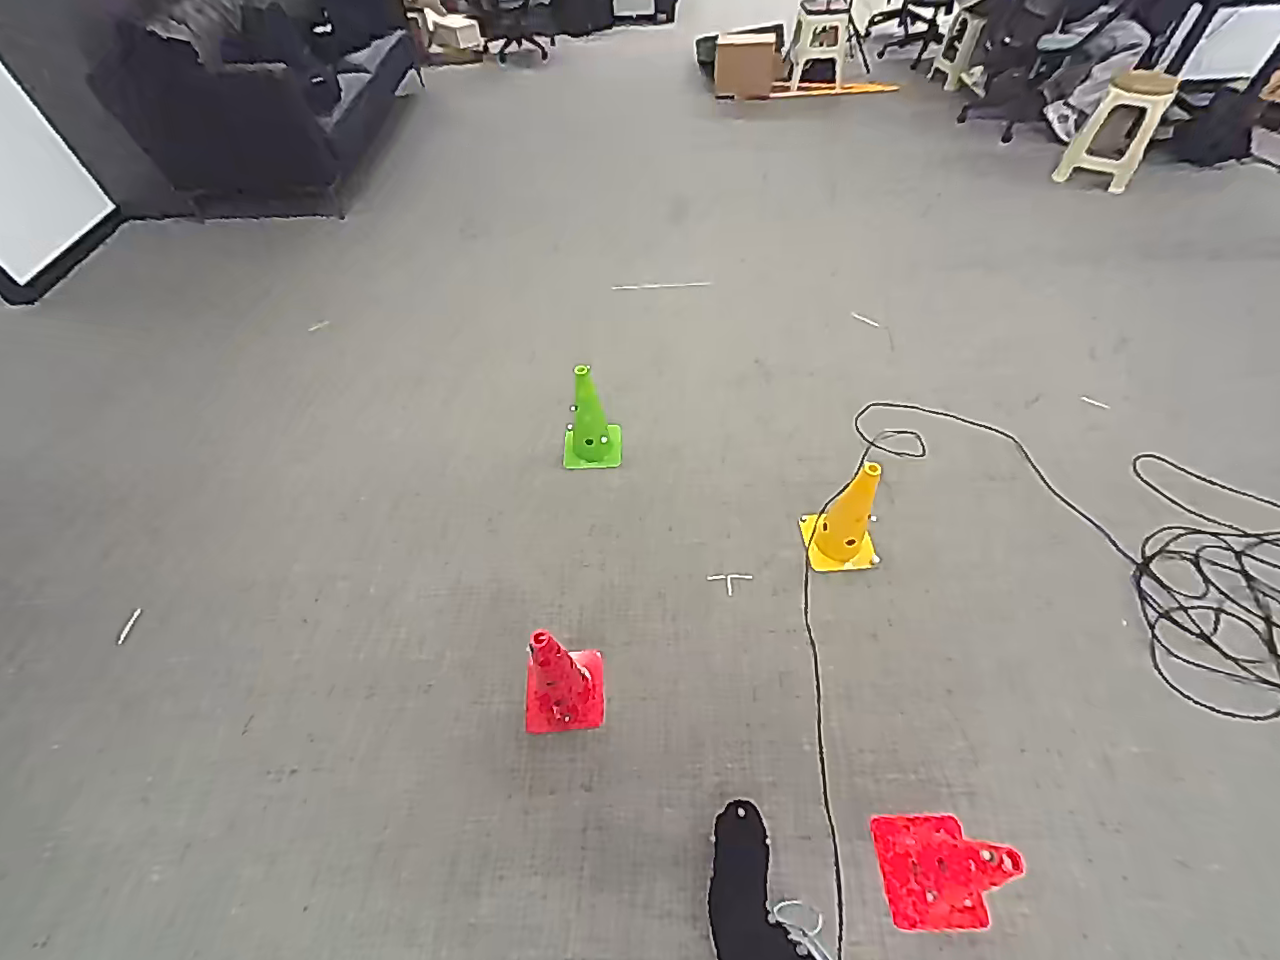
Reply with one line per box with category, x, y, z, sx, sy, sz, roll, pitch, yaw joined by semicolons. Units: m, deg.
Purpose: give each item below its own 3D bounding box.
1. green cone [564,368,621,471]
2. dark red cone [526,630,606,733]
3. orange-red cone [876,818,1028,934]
green cone;-0.171;-0.216;1.792;0.202;0.368;0.200;-2;52;-1
dark red cone;-0.195;0.436;1.253;0.202;0.394;0.201;-6;53;-2
orange-red cone;0.614;0.728;1.014;0.198;0.360;0.199;-1;51;1
